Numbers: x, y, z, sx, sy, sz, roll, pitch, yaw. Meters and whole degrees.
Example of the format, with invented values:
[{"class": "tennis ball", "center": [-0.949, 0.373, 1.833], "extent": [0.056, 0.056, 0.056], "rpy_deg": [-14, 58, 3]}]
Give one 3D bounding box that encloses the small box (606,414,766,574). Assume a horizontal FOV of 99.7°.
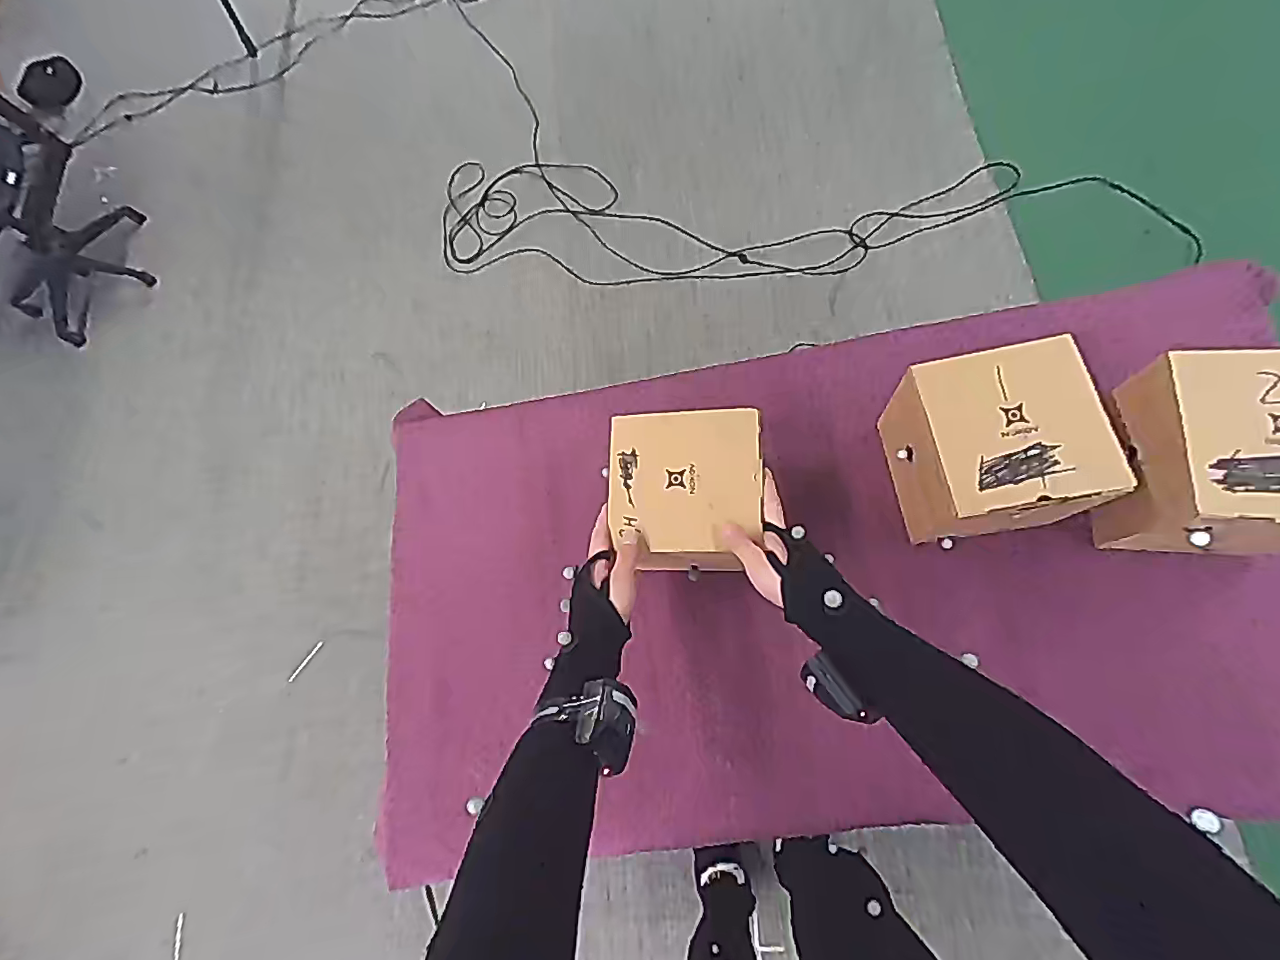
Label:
[{"class": "small box", "center": [0.064, 0.025, 0.682], "extent": [0.179, 0.176, 0.168], "rpy_deg": [-1, 74, 11]}]
